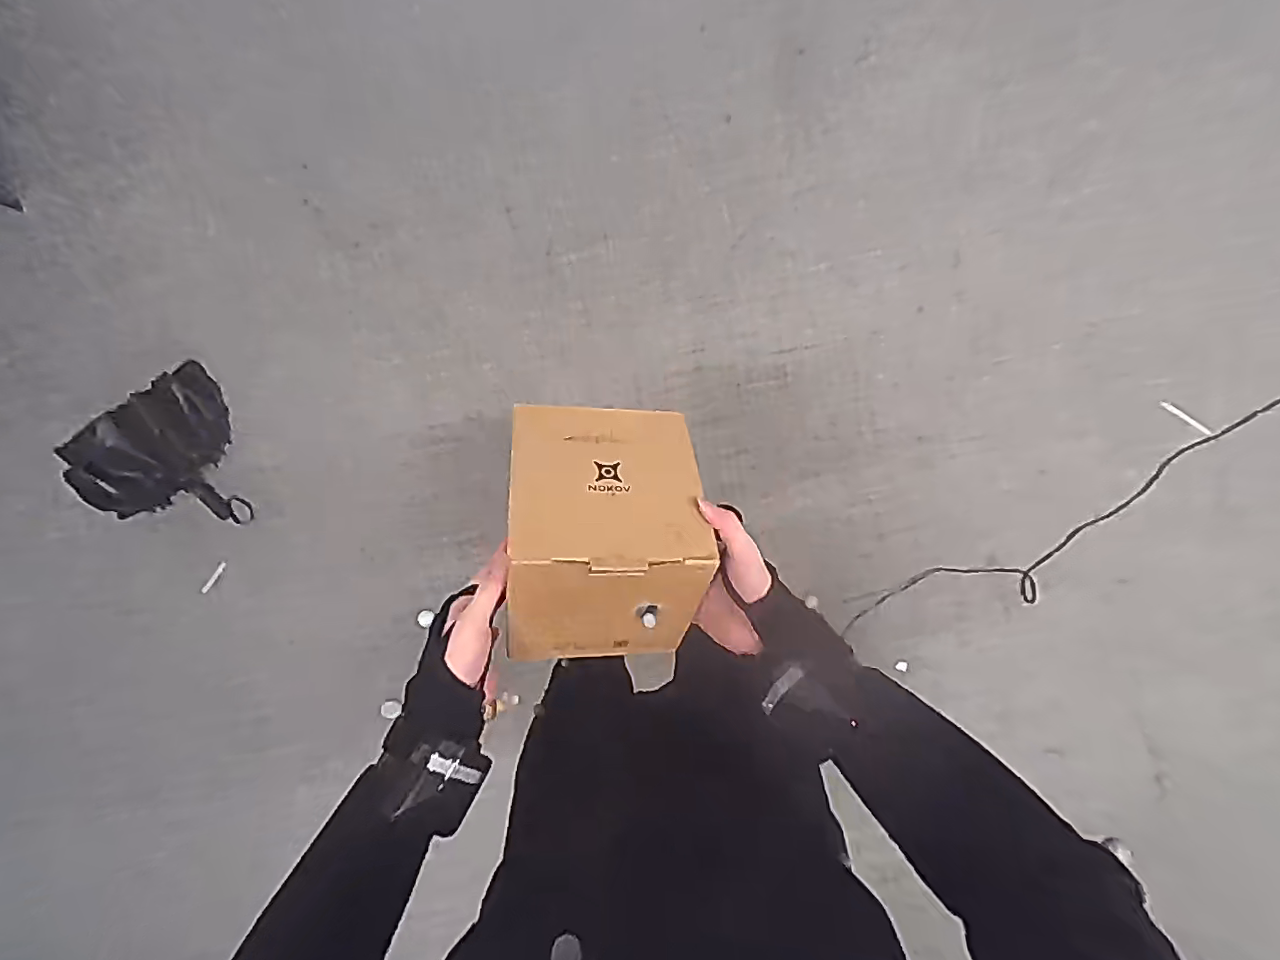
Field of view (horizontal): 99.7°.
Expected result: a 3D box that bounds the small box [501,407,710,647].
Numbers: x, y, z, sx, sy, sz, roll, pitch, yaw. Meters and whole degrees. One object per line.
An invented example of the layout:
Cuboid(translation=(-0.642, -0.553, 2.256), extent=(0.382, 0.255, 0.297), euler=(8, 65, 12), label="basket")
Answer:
Cuboid(translation=(-0.046, 0.050, 0.526), extent=(0.168, 0.179, 0.176), euler=(1, 137, -13), label="small box")
